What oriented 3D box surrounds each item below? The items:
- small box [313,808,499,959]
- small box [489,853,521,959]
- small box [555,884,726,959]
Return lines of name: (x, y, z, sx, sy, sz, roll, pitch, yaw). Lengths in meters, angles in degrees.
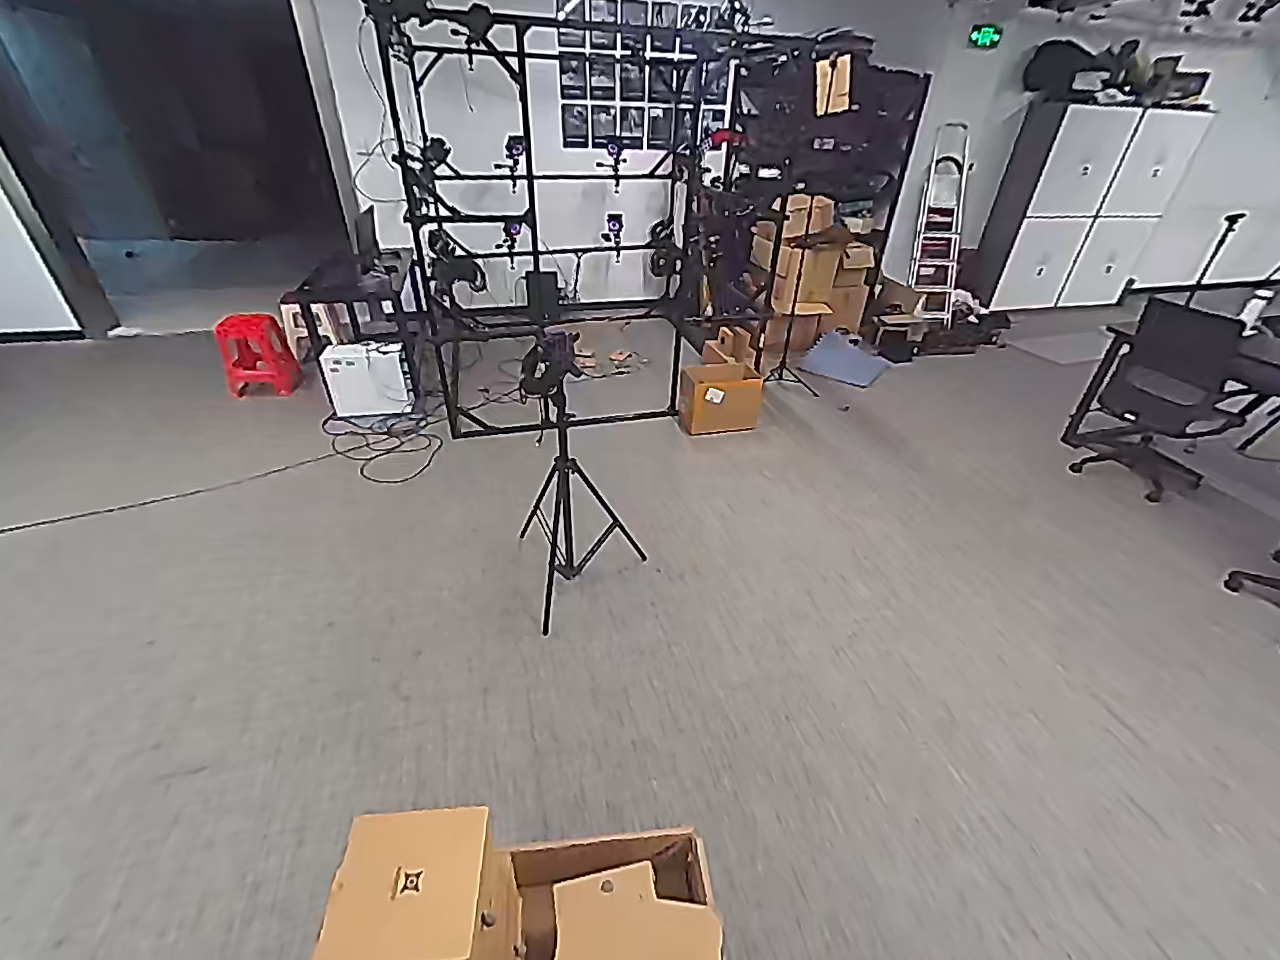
small box: (-0.282, 0.554, 0.696, 0.179, 0.176, 0.168, -1, 33, -6)
small box: (-0.265, 0.690, 0.789, 0.168, 0.176, 0.179, -3, 33, -9)
small box: (-0.008, 0.567, 0.583, 0.179, 0.176, 0.168, 8, 43, 2)
